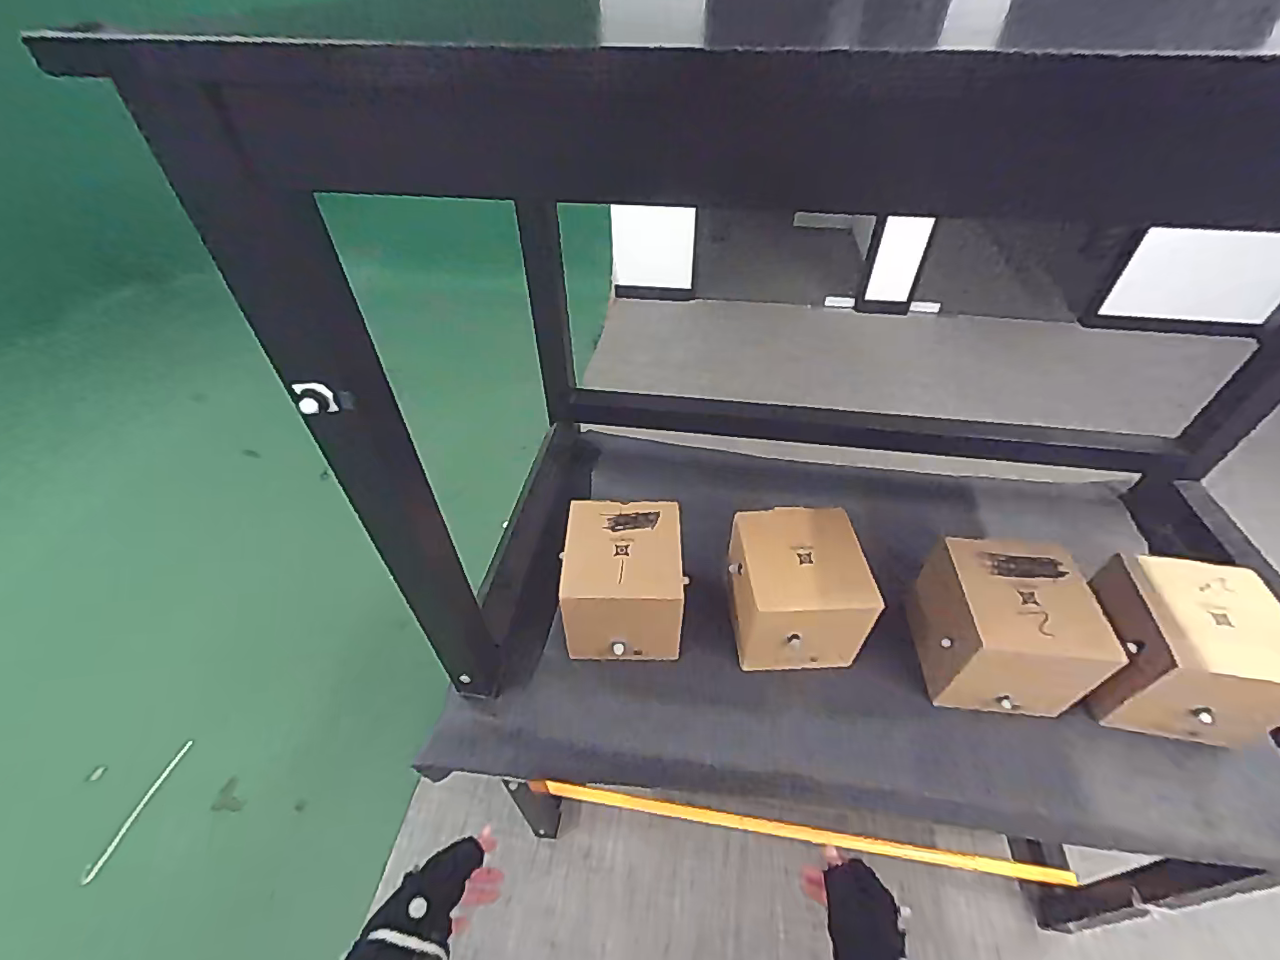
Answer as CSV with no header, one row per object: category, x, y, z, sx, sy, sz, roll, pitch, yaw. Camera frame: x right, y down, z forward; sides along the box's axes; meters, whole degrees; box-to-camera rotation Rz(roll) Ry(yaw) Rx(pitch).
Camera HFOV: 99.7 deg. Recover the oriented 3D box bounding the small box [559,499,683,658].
small box,-0.024,0.148,0.819,0.168,0.176,0.179,0,45,1
